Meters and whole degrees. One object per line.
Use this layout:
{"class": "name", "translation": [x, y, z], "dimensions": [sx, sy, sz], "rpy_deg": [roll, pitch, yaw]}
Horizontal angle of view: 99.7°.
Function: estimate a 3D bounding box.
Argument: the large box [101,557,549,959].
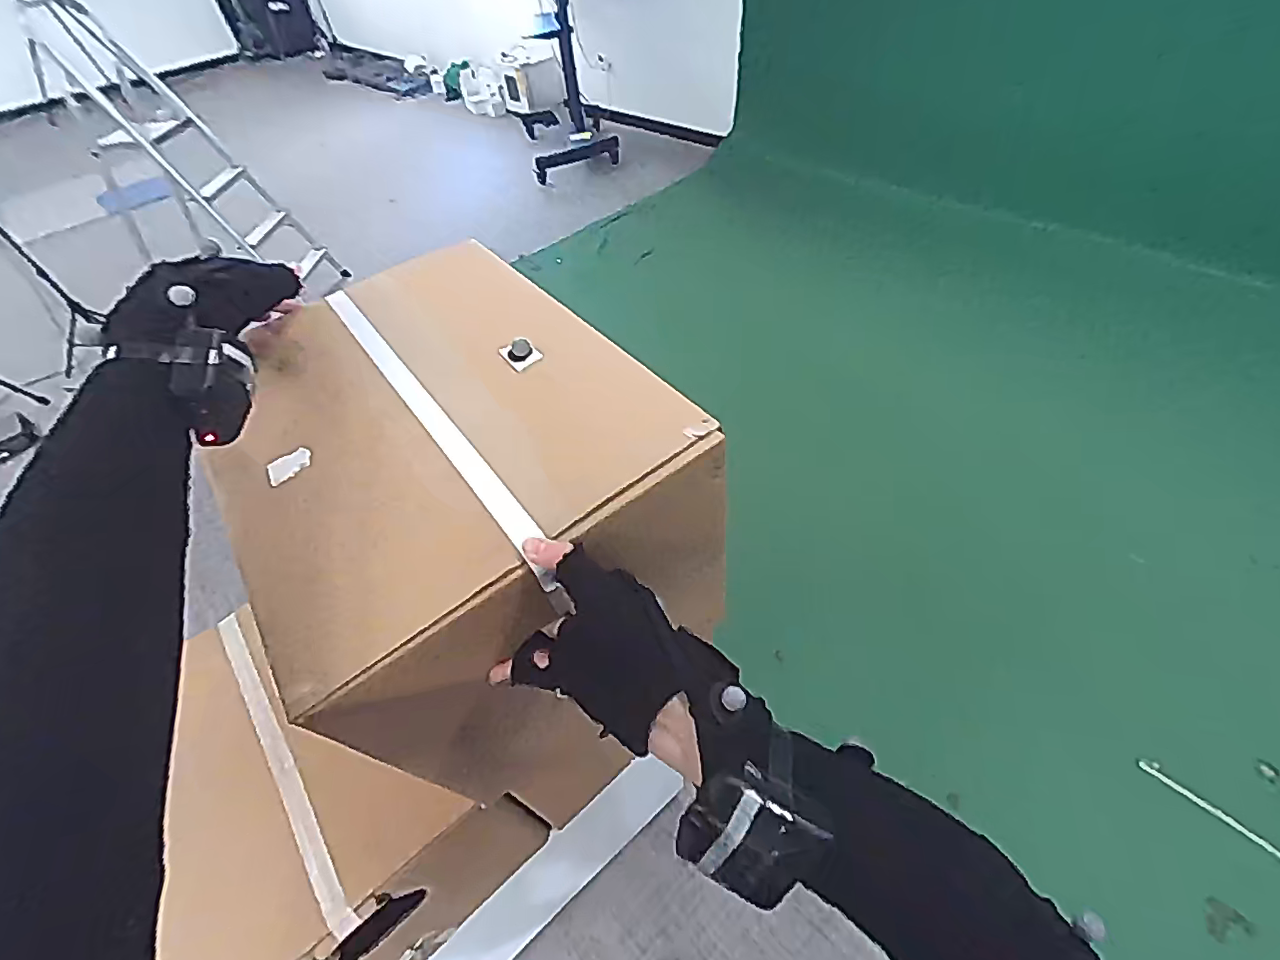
{"class": "large box", "translation": [-0.380, 0.388, 0.704], "dimensions": [0.320, 0.320, 0.408], "rpy_deg": [-36, 54, -23]}
